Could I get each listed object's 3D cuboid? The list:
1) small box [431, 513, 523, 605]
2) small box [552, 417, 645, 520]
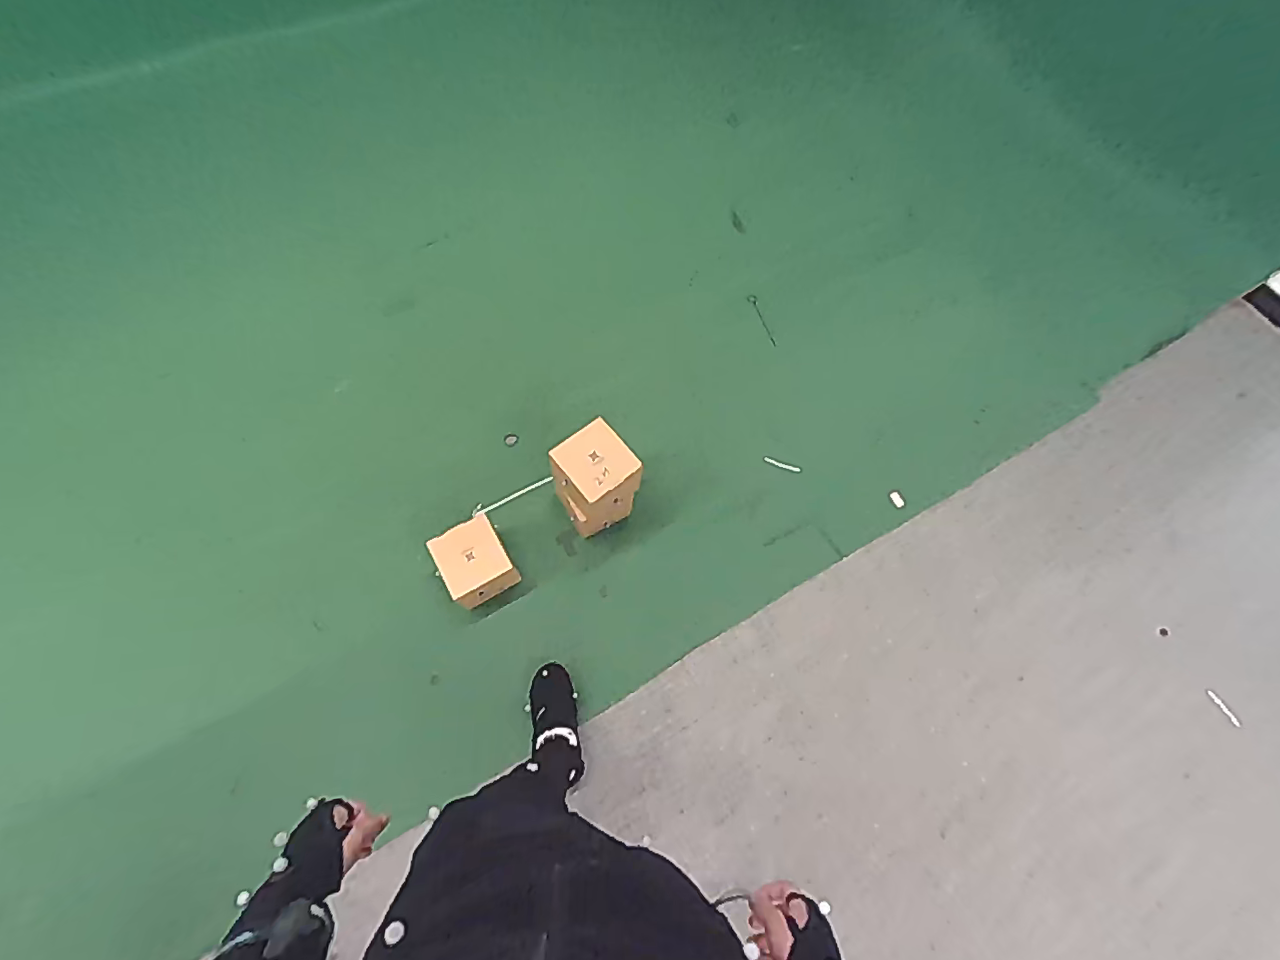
[{"bbox_3d":[-0.433,0.222,1.463,0.168,0.176,0.179,-29,71,-14],"label":"small box"},{"bbox_3d":[-0.109,-0.025,1.404,0.168,0.176,0.179,-37,75,-16],"label":"small box"}]
